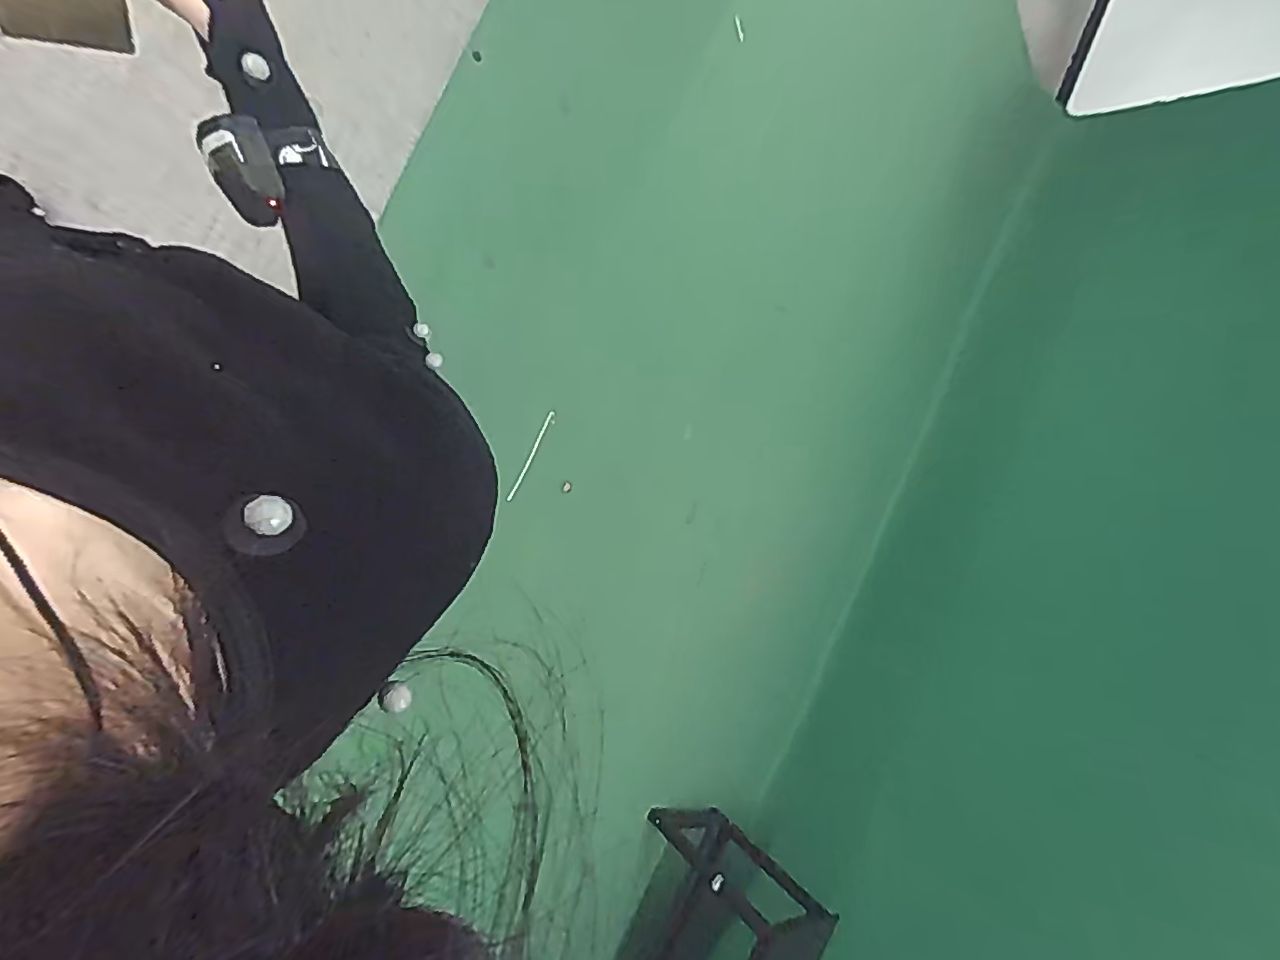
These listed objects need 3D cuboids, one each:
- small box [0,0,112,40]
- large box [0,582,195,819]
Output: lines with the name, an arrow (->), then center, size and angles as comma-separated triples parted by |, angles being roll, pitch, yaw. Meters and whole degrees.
small box -> -0.470, -0.416, 0.336 | 0.179, 0.176, 0.168 | -19, 111, -36
large box -> -1.122, 0.391, 1.015 | 0.408, 0.320, 0.320 | 9, 98, -43
